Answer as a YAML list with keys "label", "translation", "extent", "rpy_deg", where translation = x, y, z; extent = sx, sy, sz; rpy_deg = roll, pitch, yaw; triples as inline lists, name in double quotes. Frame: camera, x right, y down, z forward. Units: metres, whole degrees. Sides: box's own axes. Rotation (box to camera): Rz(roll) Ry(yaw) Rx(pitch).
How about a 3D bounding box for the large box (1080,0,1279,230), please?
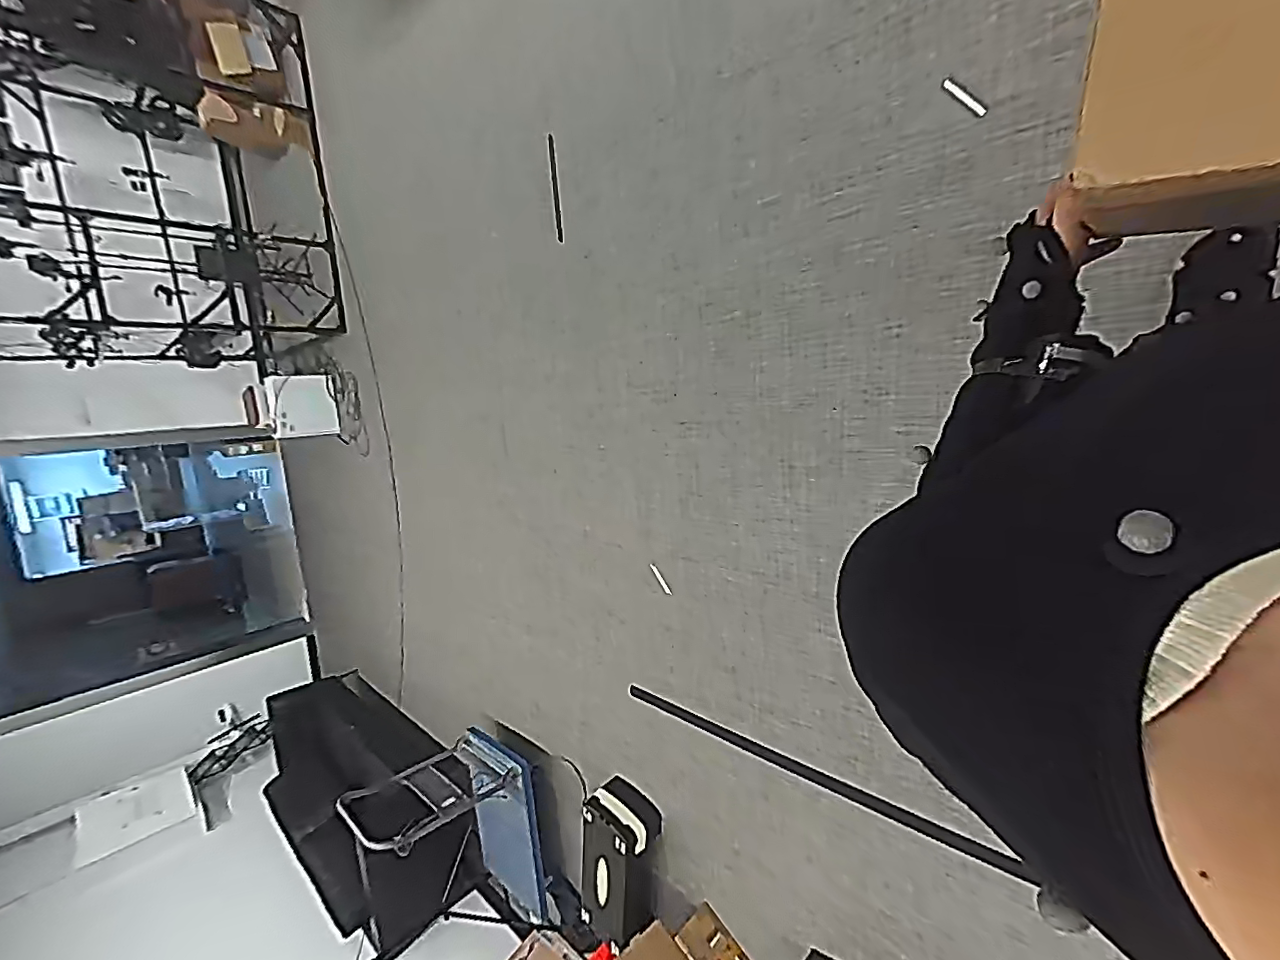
- label: "large box"
  translation: [0.440, -0.300, 0.199]
  extent: [0.408, 0.320, 0.320]
  rpy_deg: [10, 112, 37]
